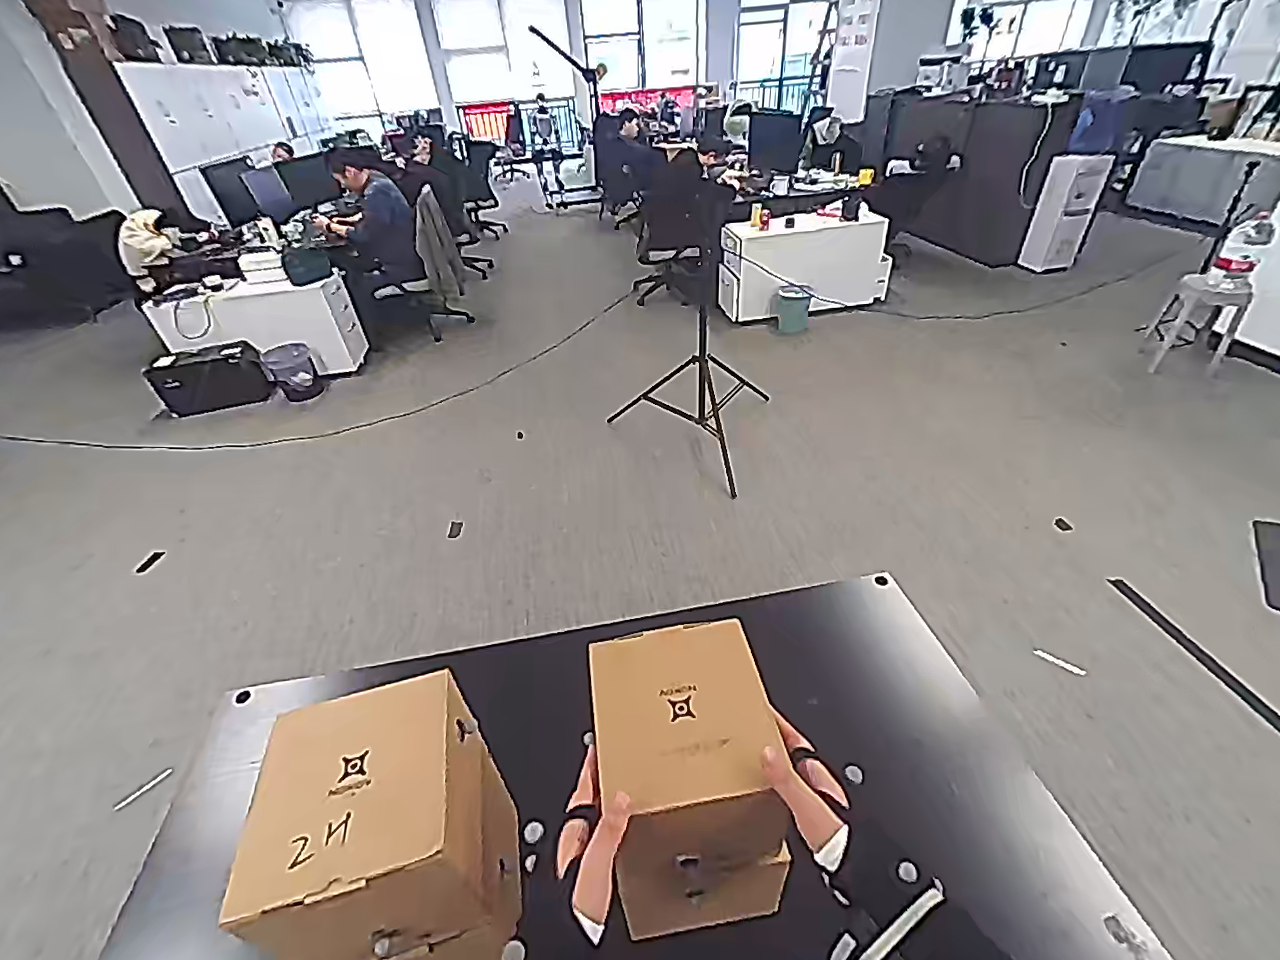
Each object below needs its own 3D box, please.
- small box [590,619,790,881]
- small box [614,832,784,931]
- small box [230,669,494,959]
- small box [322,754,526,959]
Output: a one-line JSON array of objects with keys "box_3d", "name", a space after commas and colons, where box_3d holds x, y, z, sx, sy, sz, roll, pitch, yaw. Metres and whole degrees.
[{"box_3d": [0.042, 0.277, 0.565, 0.168, 0.176, 0.179, -9, 38, -3], "name": "small box"}, {"box_3d": [0.060, 0.411, 0.656, 0.179, 0.176, 0.168, -8, 37, -4], "name": "small box"}, {"box_3d": [-0.247, 0.326, 0.532, 0.168, 0.176, 0.179, -13, 38, -9], "name": "small box"}, {"box_3d": [-0.234, 0.460, 0.629, 0.168, 0.176, 0.179, -12, 38, -8], "name": "small box"}]
